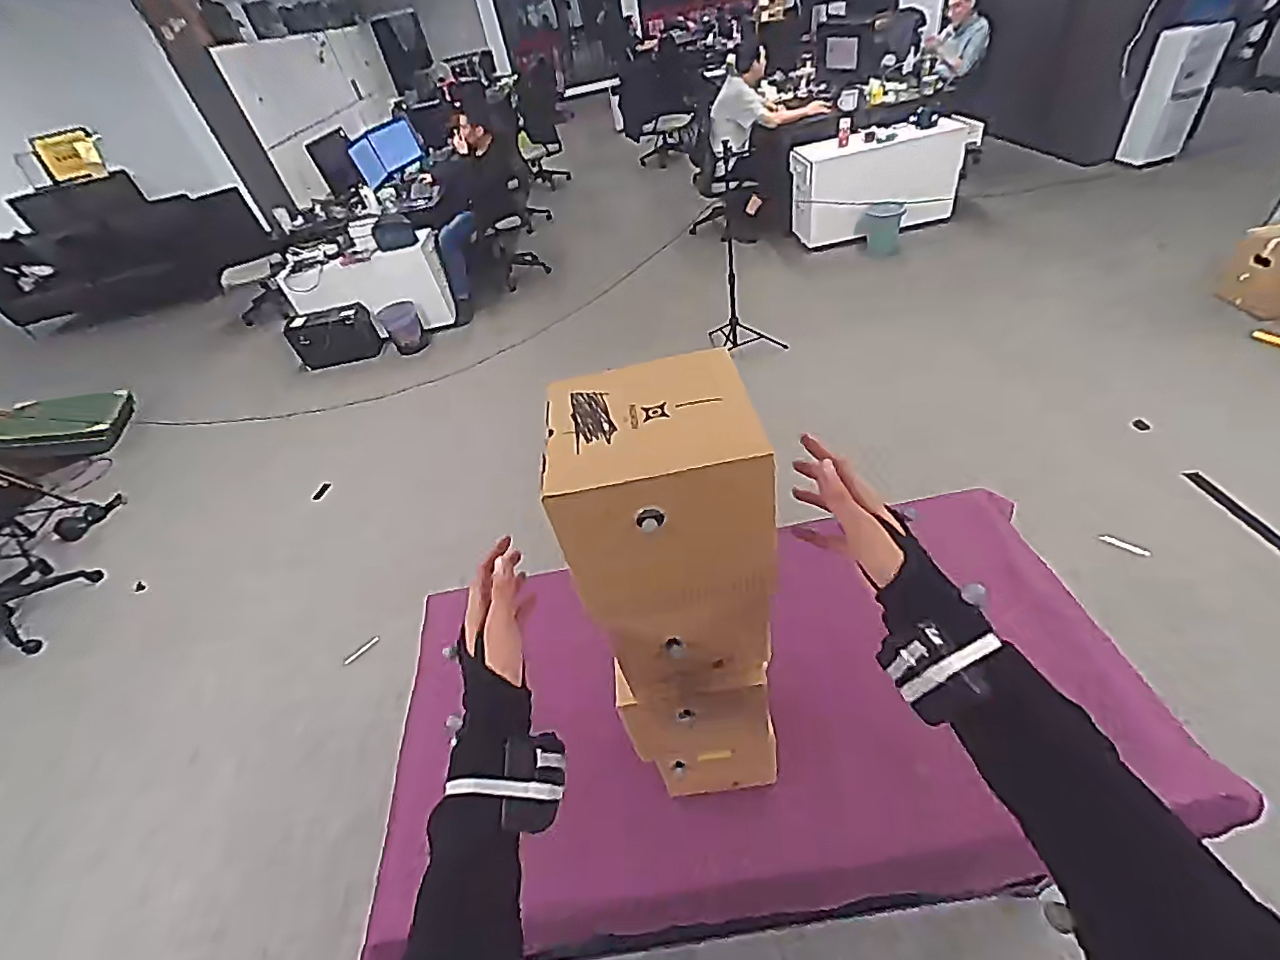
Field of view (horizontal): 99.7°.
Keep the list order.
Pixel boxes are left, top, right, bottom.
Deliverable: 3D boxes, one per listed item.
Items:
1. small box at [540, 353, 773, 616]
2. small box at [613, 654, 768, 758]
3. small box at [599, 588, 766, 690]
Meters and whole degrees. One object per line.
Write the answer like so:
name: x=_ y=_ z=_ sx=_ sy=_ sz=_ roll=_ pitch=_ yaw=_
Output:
small box: x=0.019 y=0.007 z=0.508 sx=0.179 sy=0.176 sz=0.168 roll=-11 pitch=41 yaw=3
small box: x=0.066 y=0.250 z=0.722 sx=0.179 sy=0.176 sz=0.168 roll=-10 pitch=42 yaw=4
small box: x=0.040 y=0.120 z=0.627 sx=0.168 sy=0.176 sz=0.179 roll=-15 pitch=40 yaw=-2
